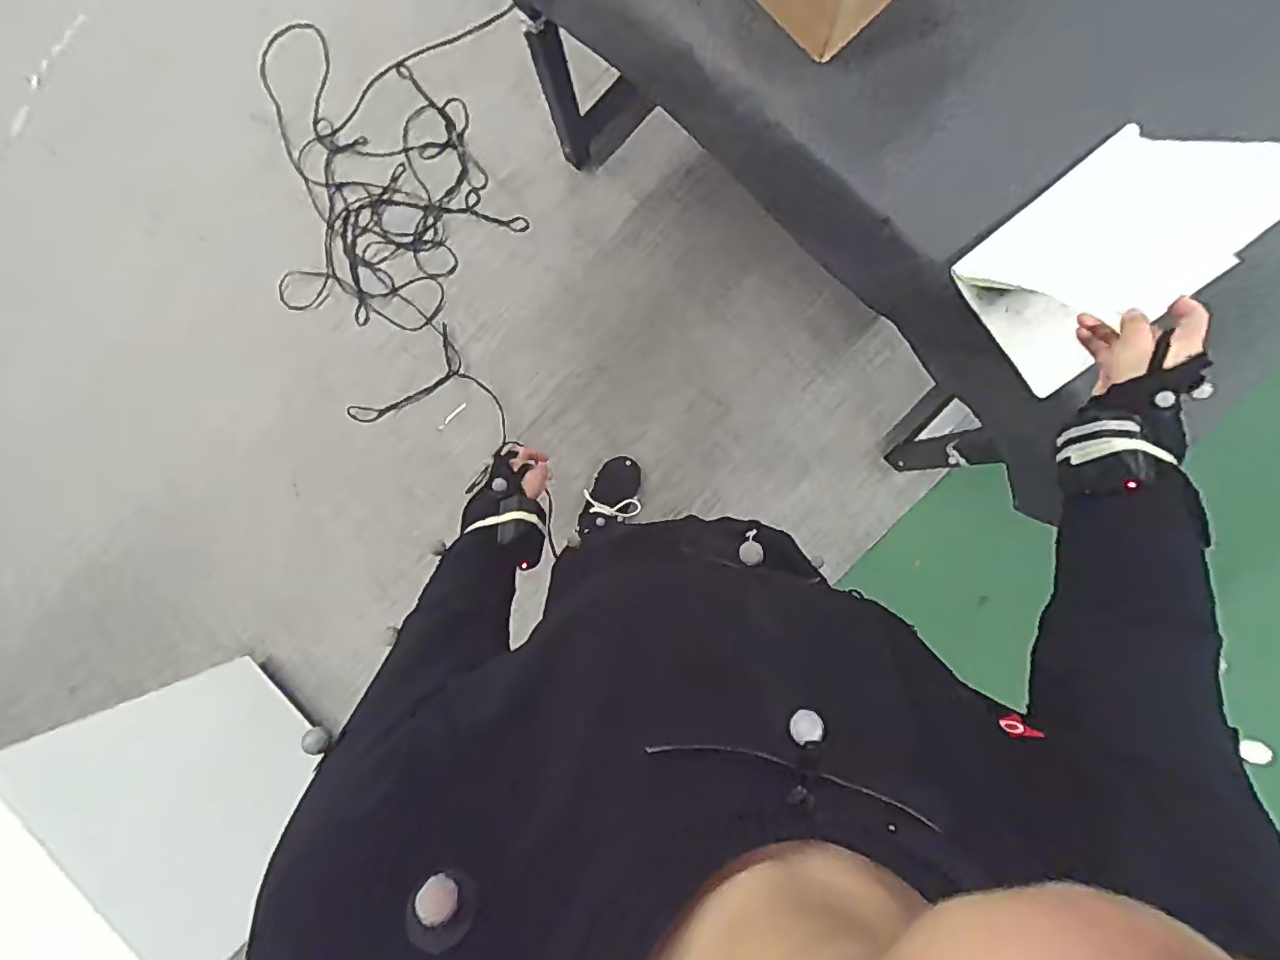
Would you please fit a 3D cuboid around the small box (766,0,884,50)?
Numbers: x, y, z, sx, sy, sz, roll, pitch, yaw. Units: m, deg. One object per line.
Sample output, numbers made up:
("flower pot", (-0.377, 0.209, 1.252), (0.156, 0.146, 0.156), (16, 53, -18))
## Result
("small box", (0.207, -0.615, 0.561), (0.168, 0.176, 0.179), (-43, 87, 1))
